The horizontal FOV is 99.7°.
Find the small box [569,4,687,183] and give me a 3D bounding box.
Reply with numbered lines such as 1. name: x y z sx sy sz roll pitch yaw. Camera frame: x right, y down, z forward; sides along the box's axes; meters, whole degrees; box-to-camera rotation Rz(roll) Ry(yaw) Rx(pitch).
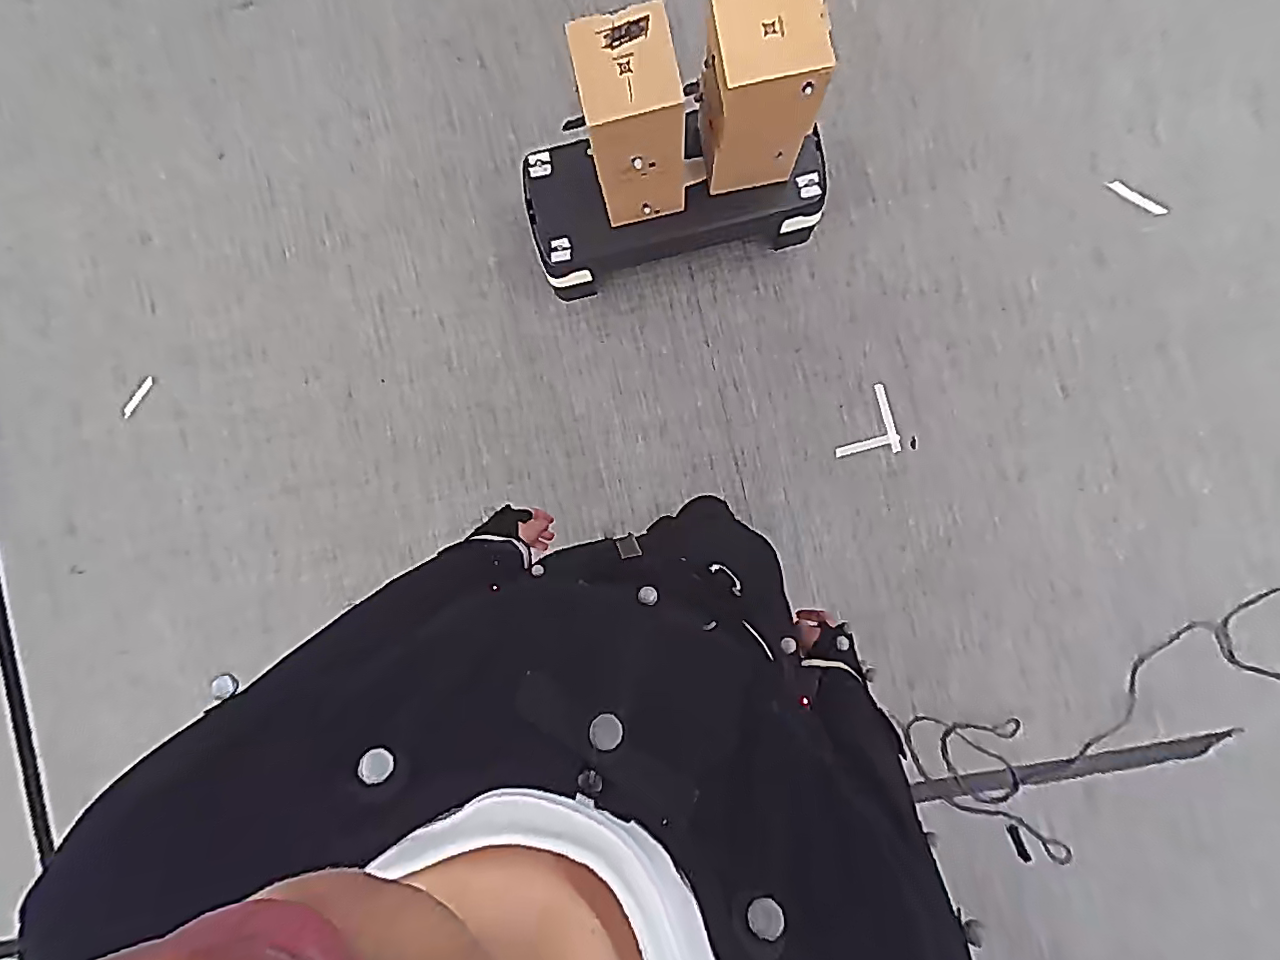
1. small box: -0.017 -0.664 0.949 0.168 0.176 0.179 -12 89 3

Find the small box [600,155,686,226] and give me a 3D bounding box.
1. small box: -0.003 -0.659 1.112 0.168 0.176 0.179 -11 89 4

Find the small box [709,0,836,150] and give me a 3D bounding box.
1. small box: 0.217 -0.710 0.937 0.179 0.176 0.168 -10 89 3

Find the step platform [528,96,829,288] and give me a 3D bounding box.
1. step platform: 0.085 -0.692 1.281 0.684 0.204 0.286 -13 88 4
